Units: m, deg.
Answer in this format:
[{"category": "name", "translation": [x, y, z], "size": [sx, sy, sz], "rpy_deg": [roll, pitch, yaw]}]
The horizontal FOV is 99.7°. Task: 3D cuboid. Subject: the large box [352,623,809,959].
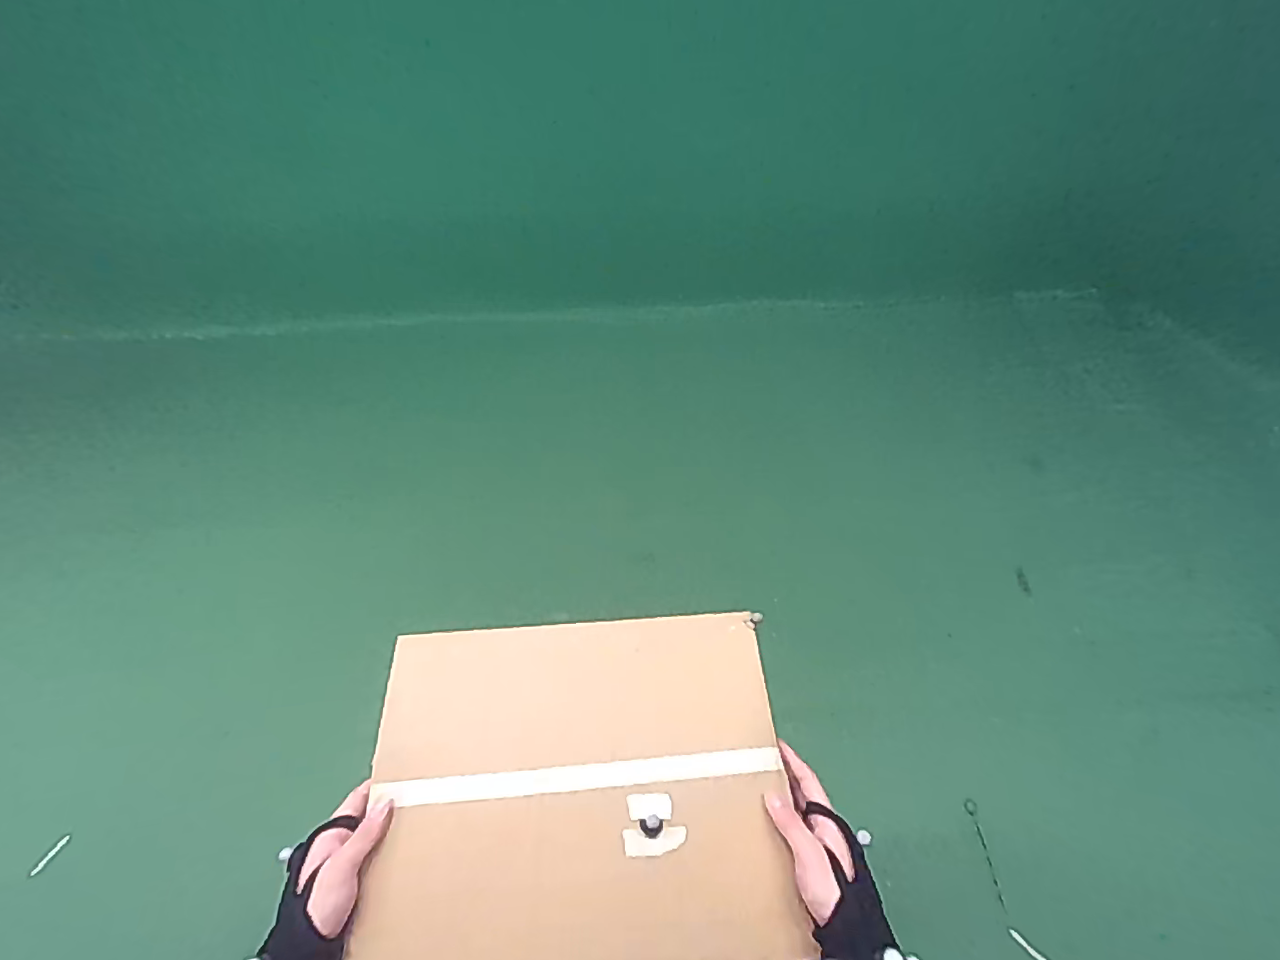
[{"category": "large box", "translation": [-0.067, 0.394, 0.663], "size": [0.408, 0.320, 0.320], "rpy_deg": [-3, 55, -5]}]
